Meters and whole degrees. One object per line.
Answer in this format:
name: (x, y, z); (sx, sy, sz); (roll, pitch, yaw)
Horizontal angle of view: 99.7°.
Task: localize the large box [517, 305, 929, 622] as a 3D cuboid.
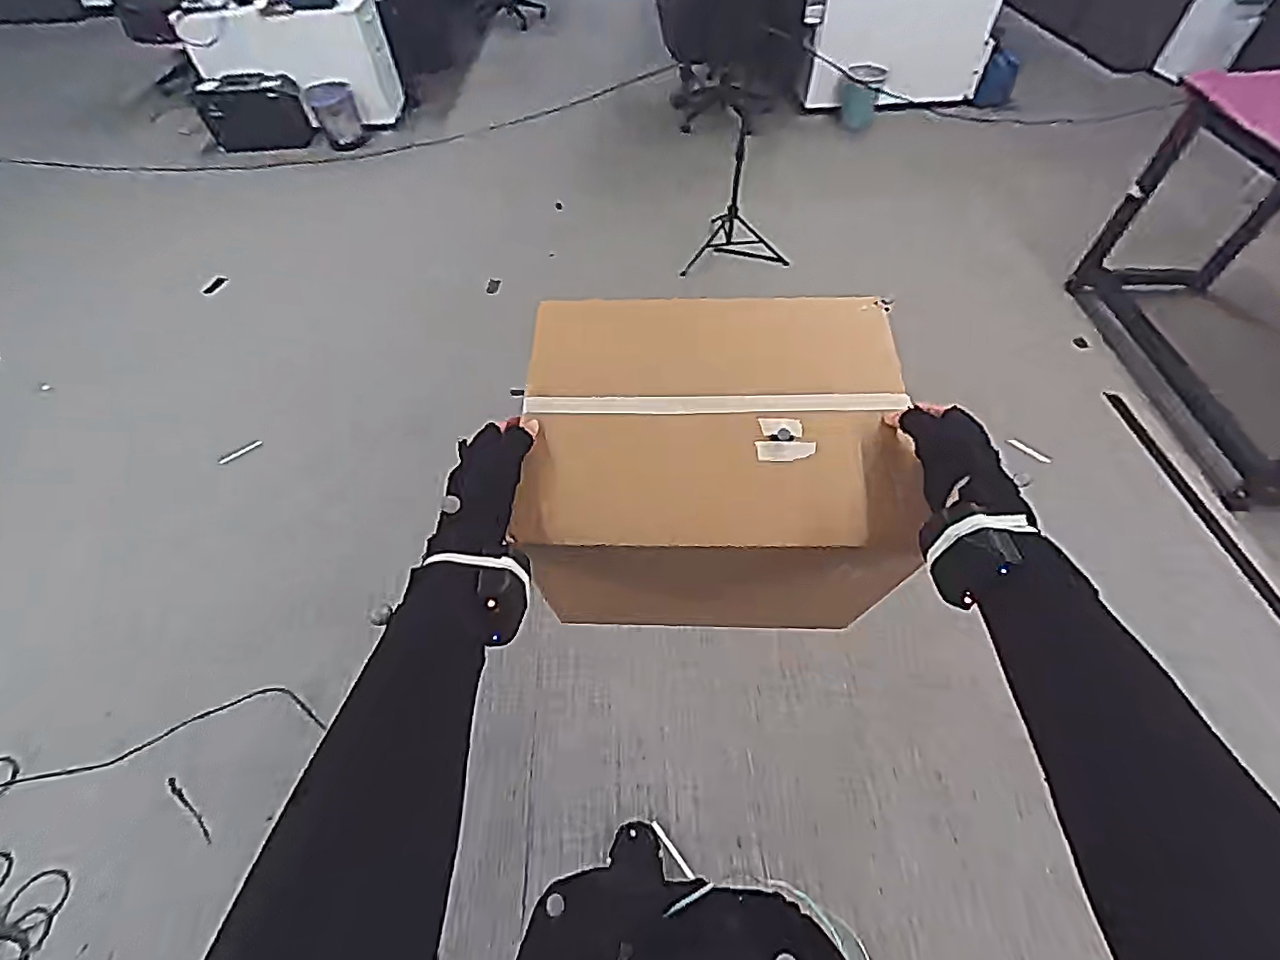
large box: (0.081, -0.003, 0.716); (0.408, 0.320, 0.320); (0, 62, 2)
